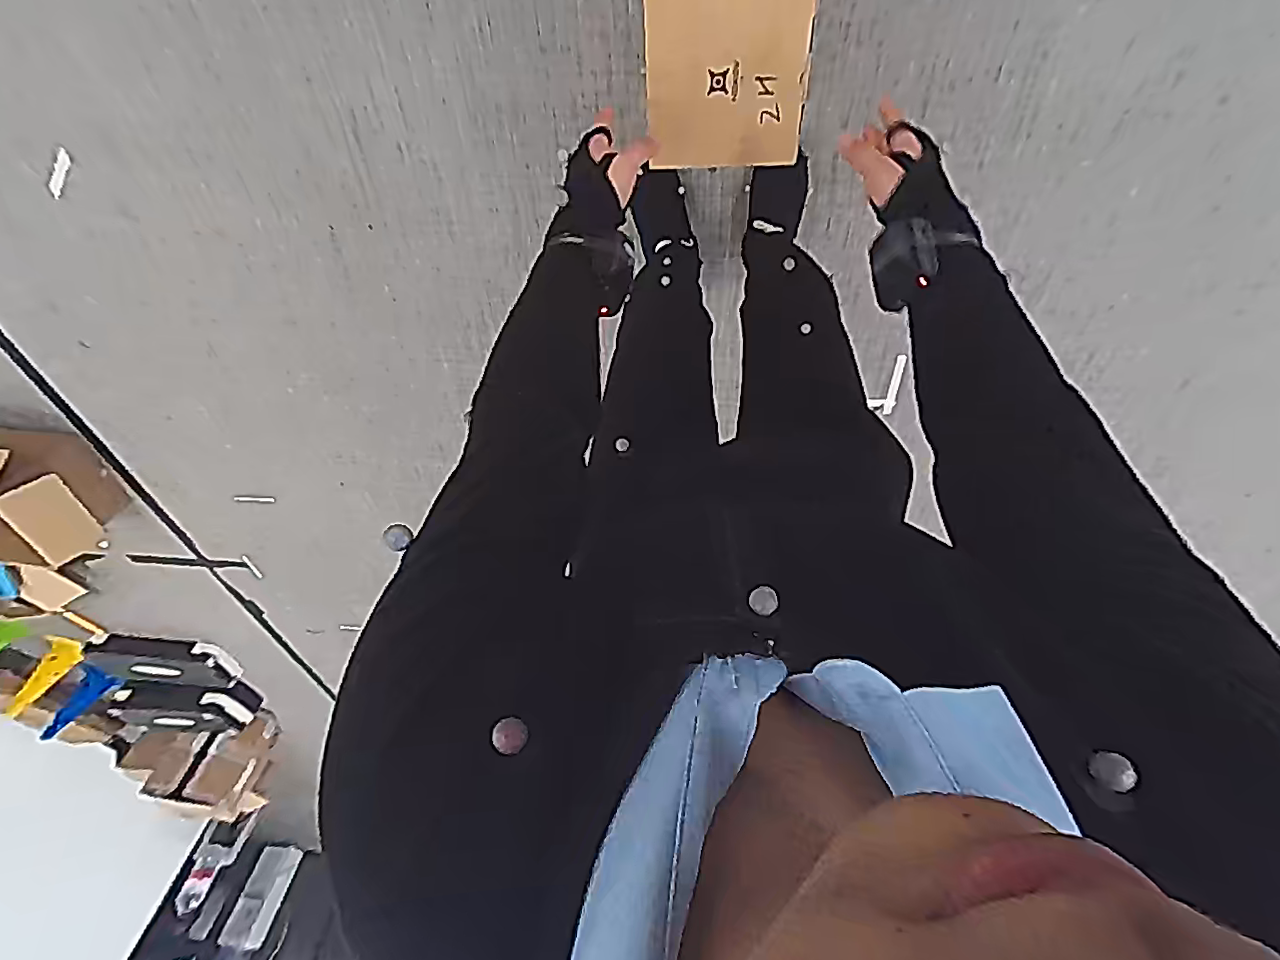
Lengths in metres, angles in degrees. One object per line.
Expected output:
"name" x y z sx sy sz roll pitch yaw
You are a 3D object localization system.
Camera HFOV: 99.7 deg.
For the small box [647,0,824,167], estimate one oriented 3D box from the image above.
"small box" 0.104 -0.482 0.636 0.179 0.176 0.168 1 134 5
